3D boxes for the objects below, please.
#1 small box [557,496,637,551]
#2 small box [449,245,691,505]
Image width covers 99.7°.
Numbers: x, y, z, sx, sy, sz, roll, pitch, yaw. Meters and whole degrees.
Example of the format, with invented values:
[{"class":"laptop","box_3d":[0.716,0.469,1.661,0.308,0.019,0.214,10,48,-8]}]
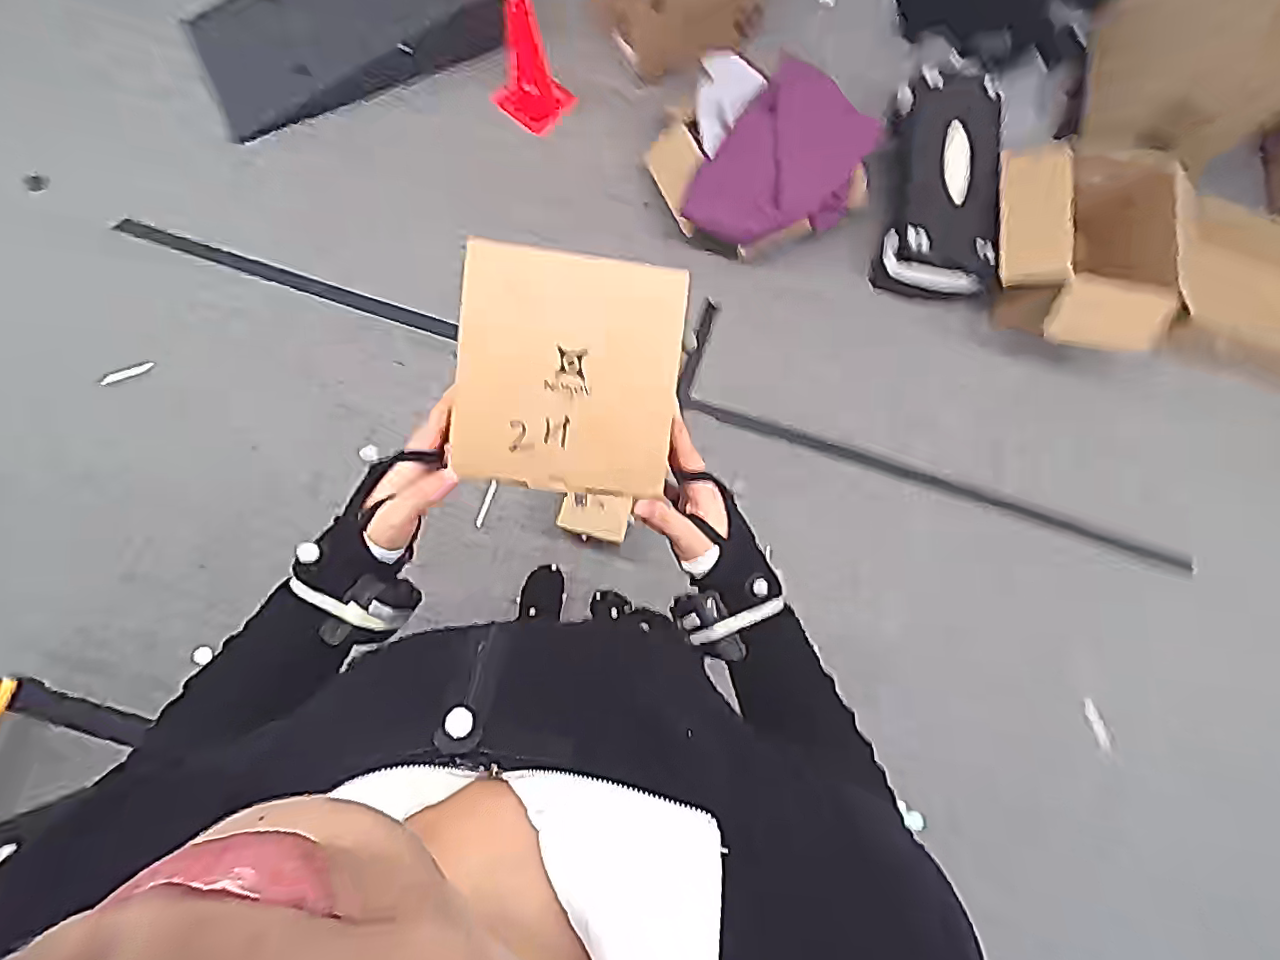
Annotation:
[{"class":"small box","box_3d":[-0.108,0.089,1.444,0.179,0.176,0.168,15,79,-1]},{"class":"small box","box_3d":[-0.058,-0.080,0.477,0.168,0.176,0.179,5,94,-5]}]
